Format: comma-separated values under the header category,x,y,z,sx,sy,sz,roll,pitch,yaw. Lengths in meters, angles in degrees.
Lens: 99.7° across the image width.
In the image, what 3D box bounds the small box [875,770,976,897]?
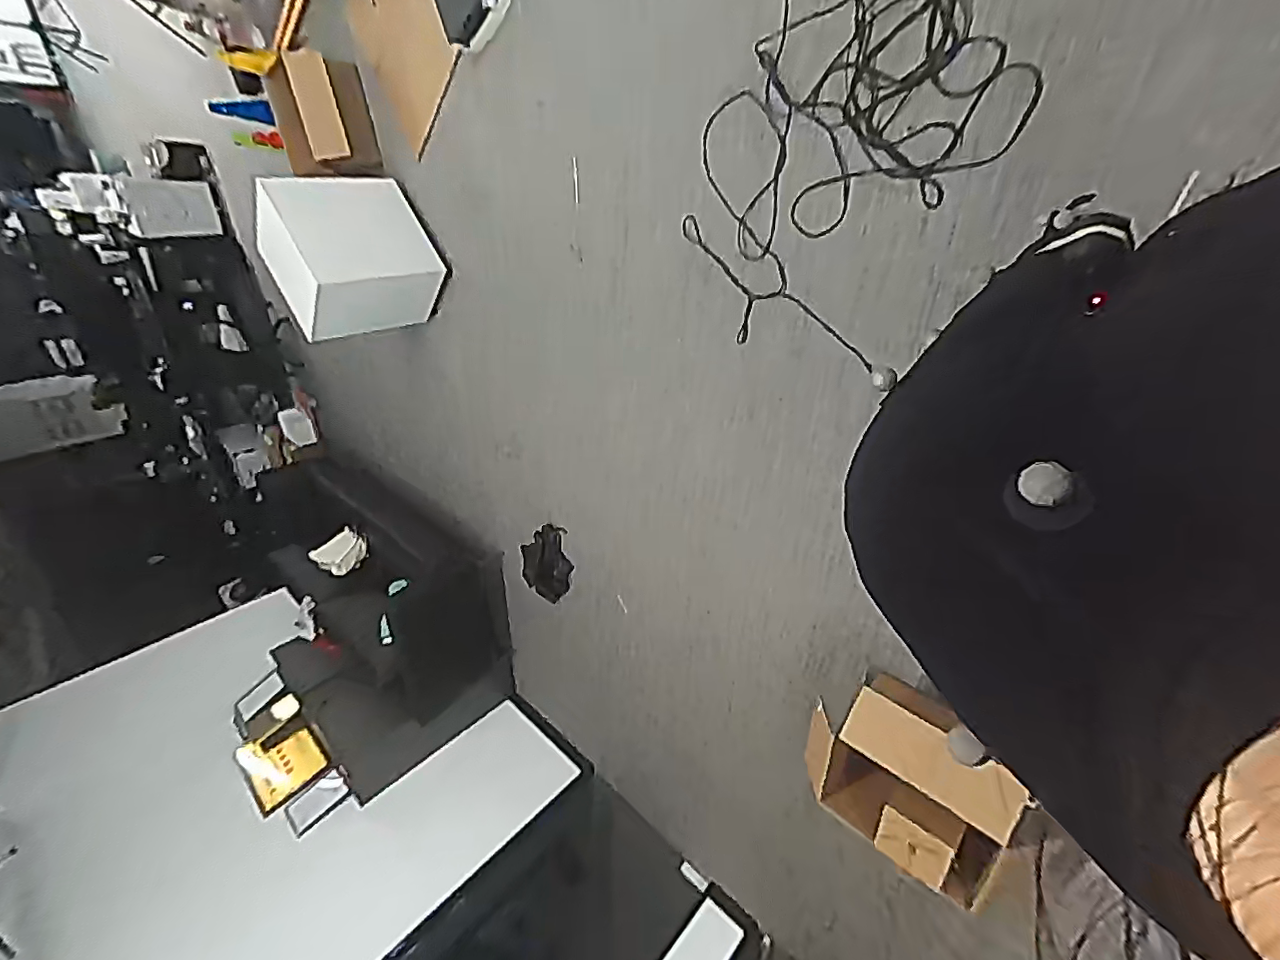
category,x,y,z,sx,sy,sz,roll,pitch,yaw
small box,0.735,0.900,1.390,0.168,0.176,0.179,23,123,39
